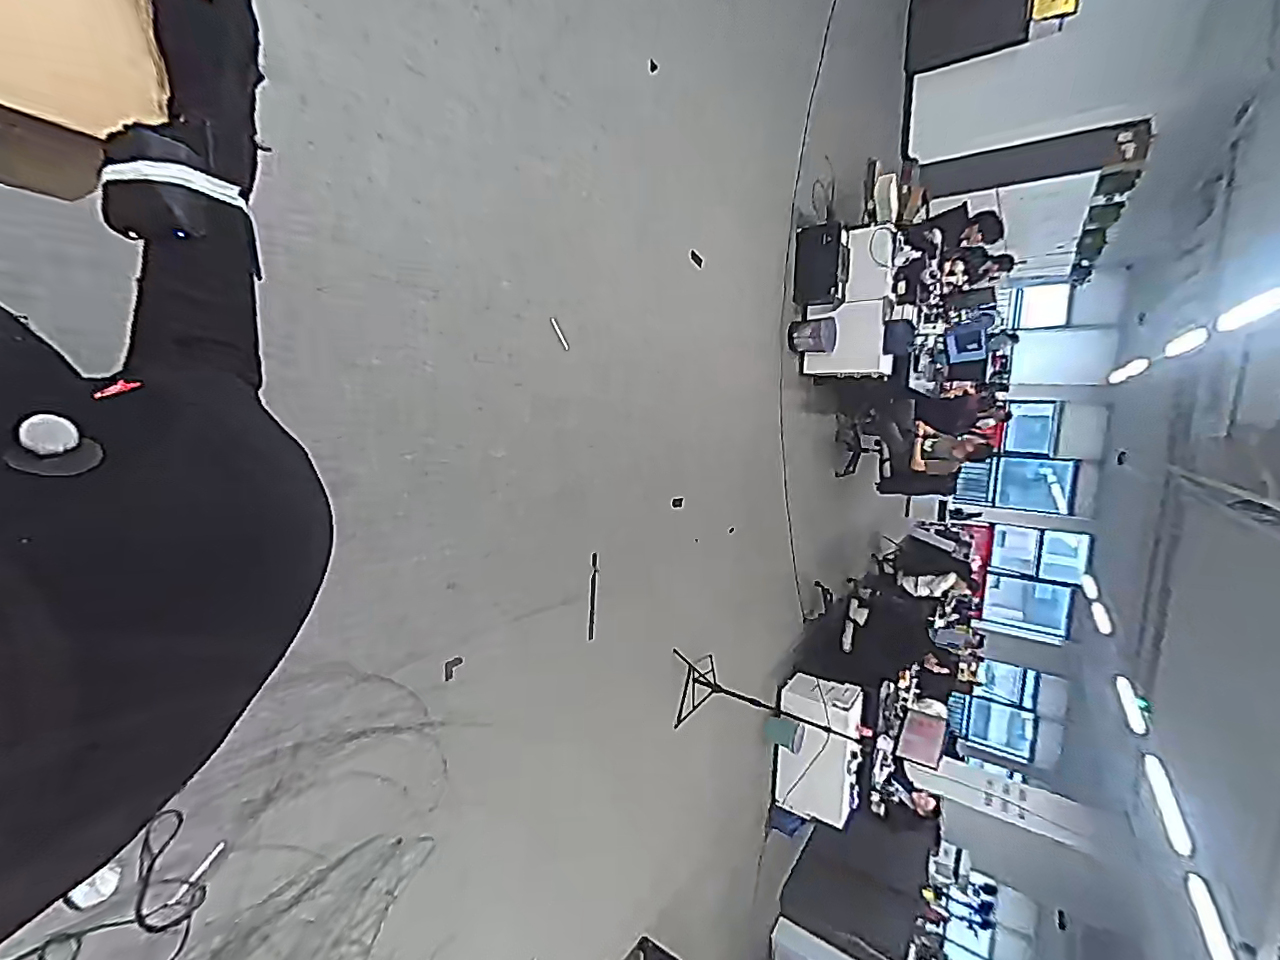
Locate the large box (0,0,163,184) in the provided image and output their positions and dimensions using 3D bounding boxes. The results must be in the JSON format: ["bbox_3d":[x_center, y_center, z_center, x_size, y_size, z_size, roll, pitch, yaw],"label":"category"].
[{"bbox_3d":[-0.577,-0.417,0.303,0.408,0.320,0.320,-5,106,-56],"label":"large box"}]
